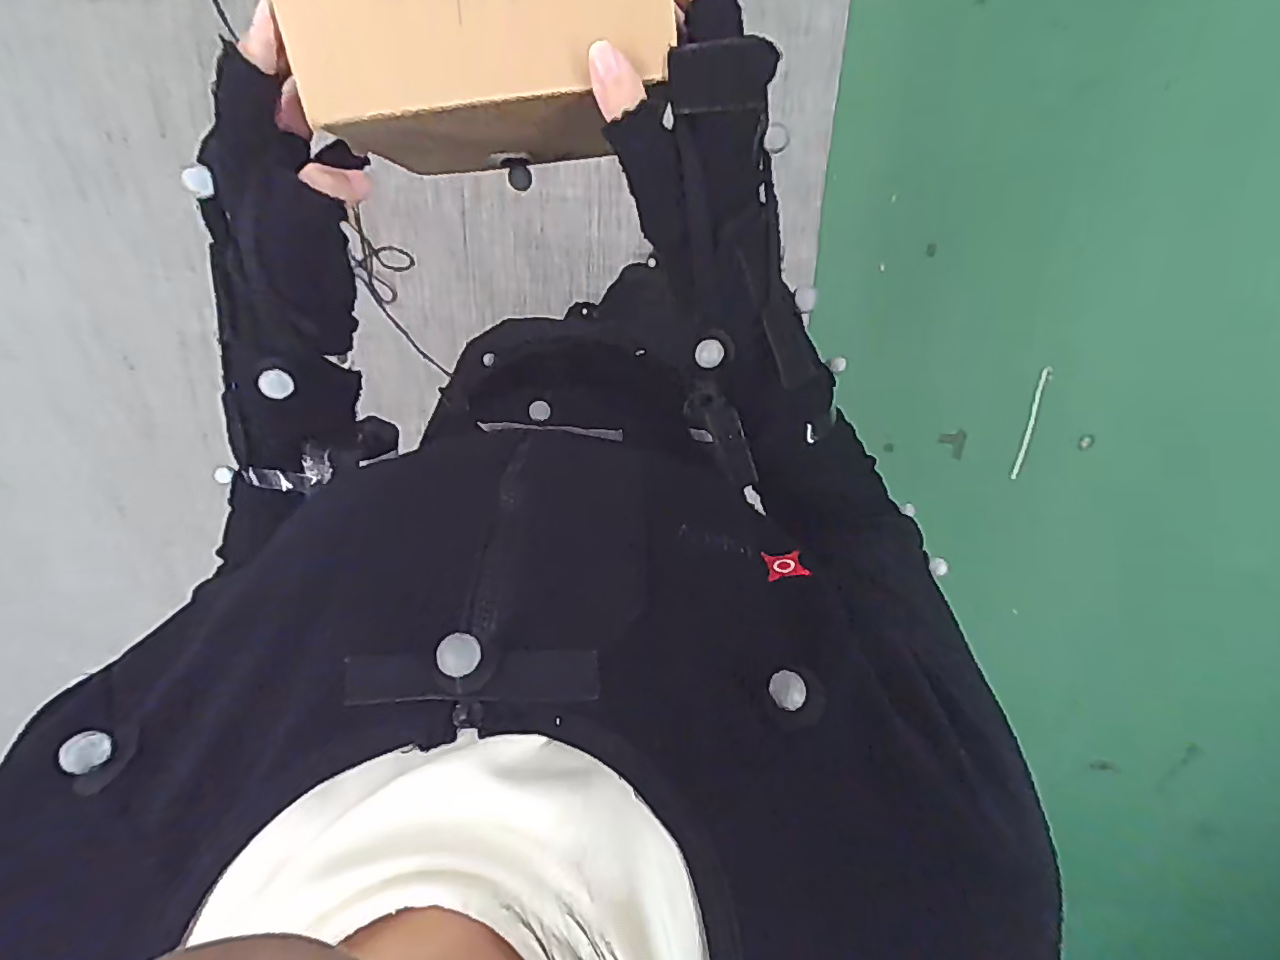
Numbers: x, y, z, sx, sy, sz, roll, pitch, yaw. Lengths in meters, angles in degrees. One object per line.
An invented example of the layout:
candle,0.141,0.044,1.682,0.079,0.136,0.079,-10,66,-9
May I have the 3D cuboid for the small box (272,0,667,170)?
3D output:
small box,-0.080,-0.282,0.283,0.168,0.176,0.179,-7,112,0
